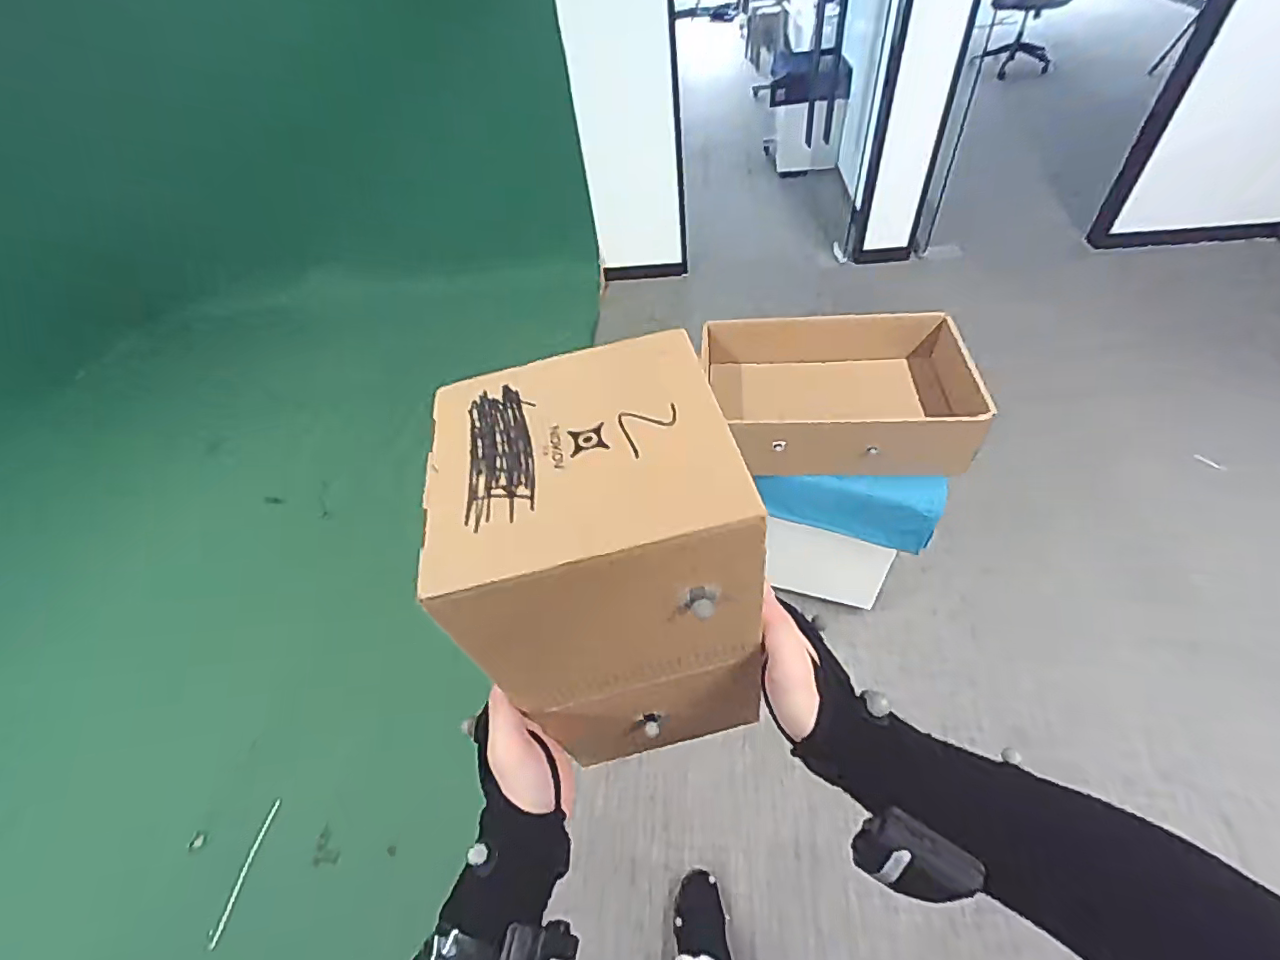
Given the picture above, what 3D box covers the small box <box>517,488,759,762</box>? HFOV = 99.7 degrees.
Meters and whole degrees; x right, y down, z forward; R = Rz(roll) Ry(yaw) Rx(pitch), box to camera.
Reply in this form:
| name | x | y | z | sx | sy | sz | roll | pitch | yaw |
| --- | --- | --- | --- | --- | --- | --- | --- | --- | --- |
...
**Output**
| name | x | y | z | sx | sy | sz | roll | pitch | yaw |
| --- | --- | --- | --- | --- | --- | --- | --- | --- | --- |
| small box | -0.001 | 0.138 | 0.499 | 0.179 | 0.176 | 0.168 | -15 | 49 | 0 |
